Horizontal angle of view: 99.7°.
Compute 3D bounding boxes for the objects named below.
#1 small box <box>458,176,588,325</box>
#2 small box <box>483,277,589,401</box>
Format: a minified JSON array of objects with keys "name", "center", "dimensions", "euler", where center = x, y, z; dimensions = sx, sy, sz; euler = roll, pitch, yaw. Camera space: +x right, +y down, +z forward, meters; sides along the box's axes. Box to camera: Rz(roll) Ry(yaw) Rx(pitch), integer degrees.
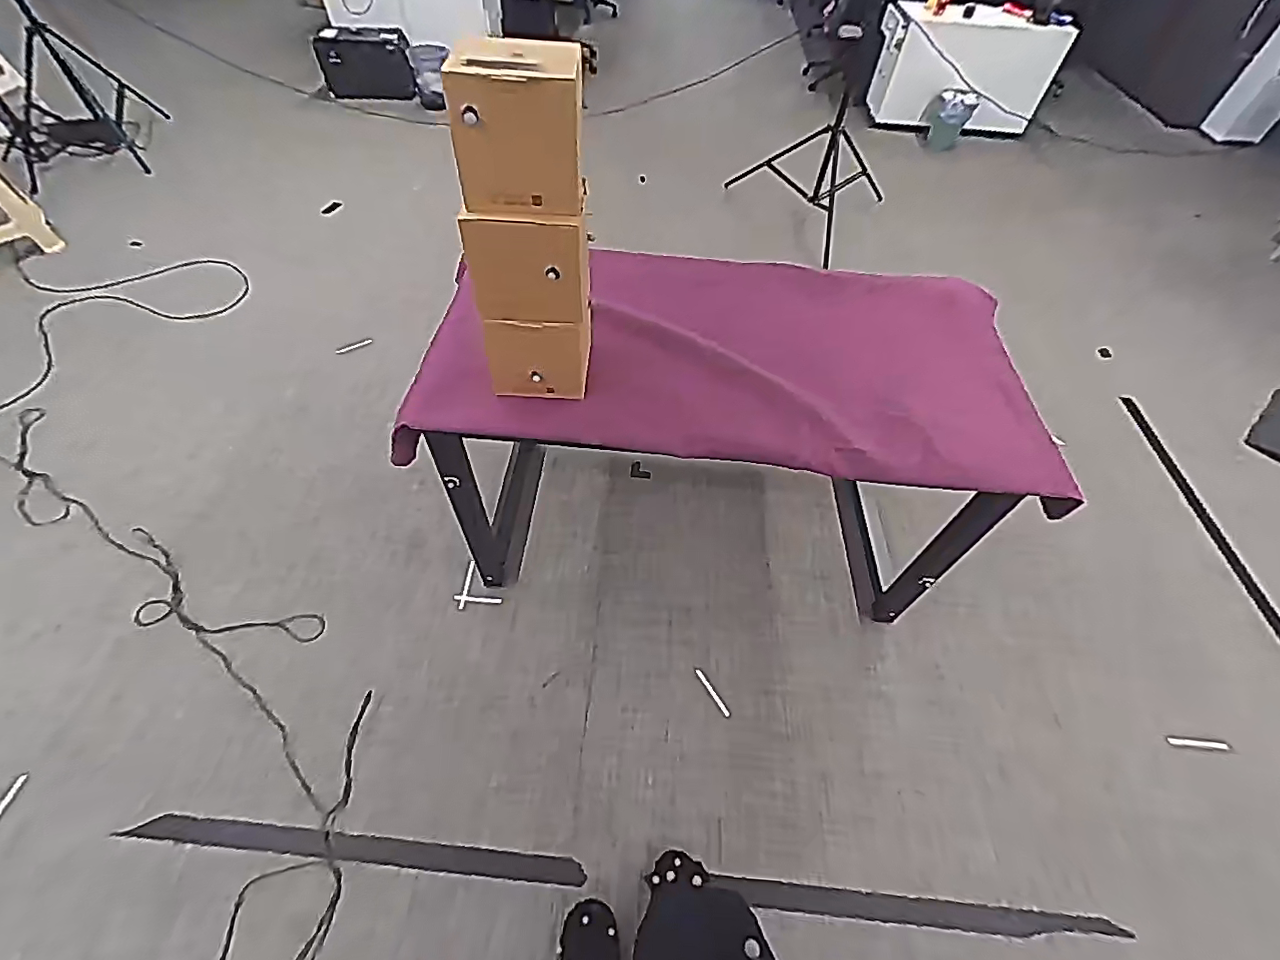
[{"name":"small box","center":[-0.177,-0.372,0.886],"dimensions":[0.179,0.176,0.168],"euler":[1,51,-2]},{"name":"small box","center":[-0.184,-0.272,1.014],"dimensions":[0.168,0.176,0.179],"euler":[3,53,-1]}]
